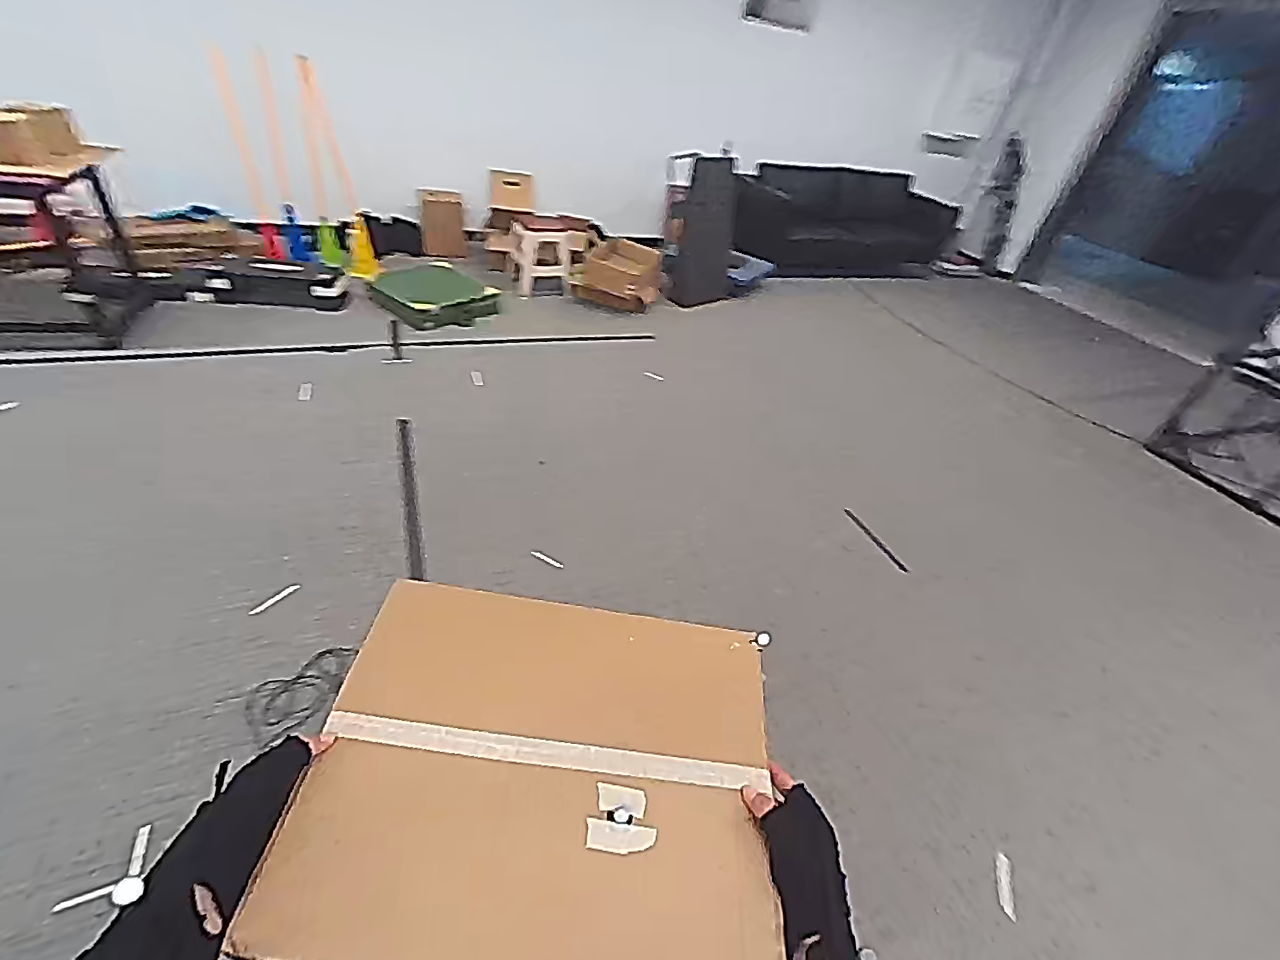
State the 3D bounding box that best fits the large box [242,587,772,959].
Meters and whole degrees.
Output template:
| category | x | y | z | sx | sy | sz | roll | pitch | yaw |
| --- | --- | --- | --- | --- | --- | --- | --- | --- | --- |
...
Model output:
| category | x | y | z | sx | sy | sz | roll | pitch | yaw |
| --- | --- | --- | --- | --- | --- | --- | --- | --- | --- |
| large box | -0.110 | 0.357 | 0.610 | 0.408 | 0.320 | 0.320 | 9 | 45 | -4 |
